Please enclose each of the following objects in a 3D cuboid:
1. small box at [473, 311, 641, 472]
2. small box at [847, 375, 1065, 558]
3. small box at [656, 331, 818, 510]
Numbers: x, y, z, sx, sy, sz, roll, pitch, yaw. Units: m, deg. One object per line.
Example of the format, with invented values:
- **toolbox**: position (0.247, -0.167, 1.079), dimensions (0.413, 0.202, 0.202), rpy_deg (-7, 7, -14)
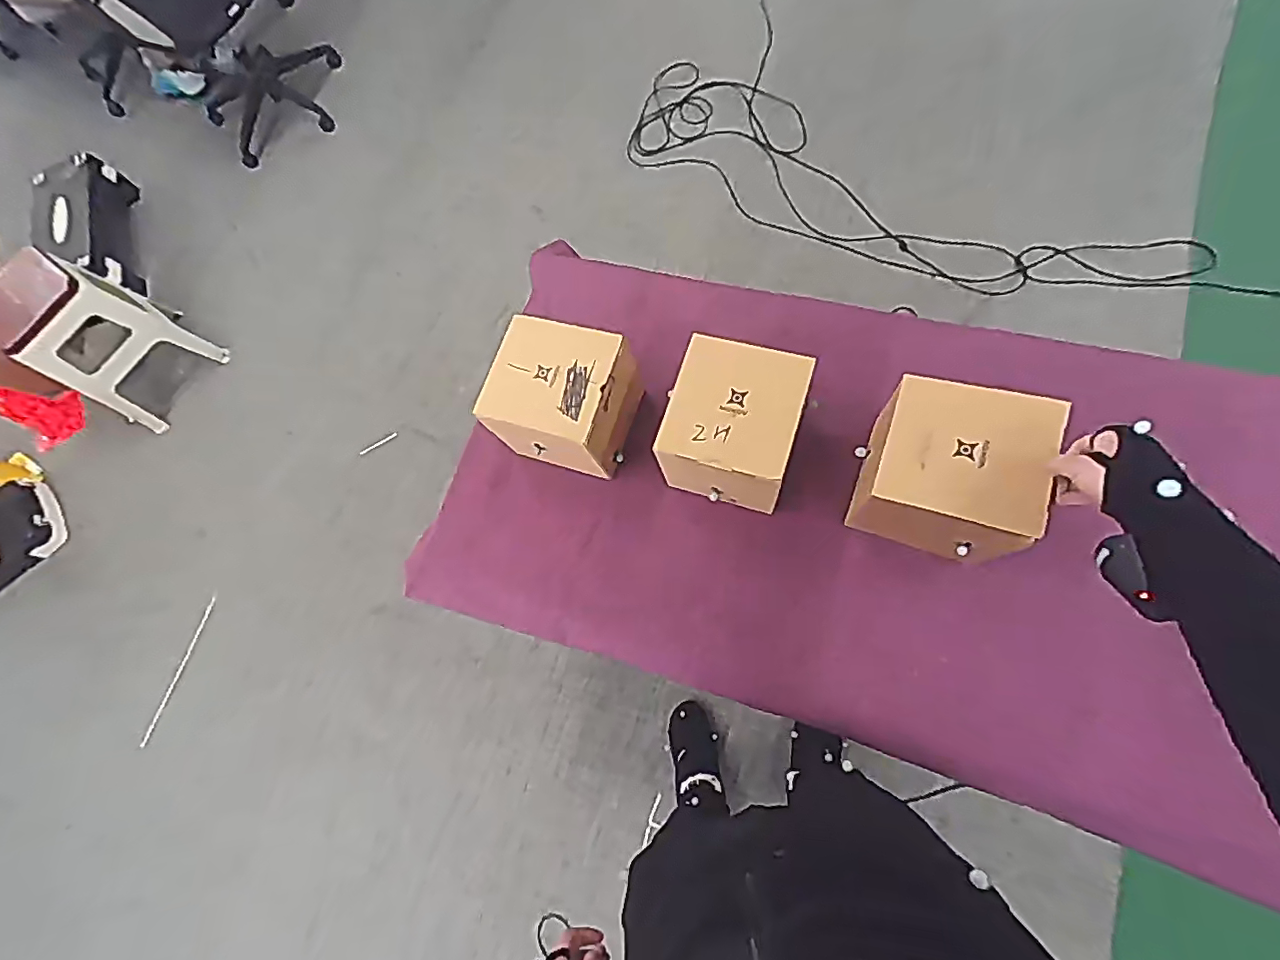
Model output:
- **small box**: position (-0.110, -0.123, 0.814), dimensions (0.179, 0.176, 0.168), rpy_deg (16, 77, 15)
- **small box**: position (0.388, -0.007, 0.694), dimensions (0.179, 0.176, 0.168), rpy_deg (18, 77, 15)
- **small box**: position (0.135, -0.075, 0.757), dimensions (0.168, 0.176, 0.179), rpy_deg (17, 78, 15)
